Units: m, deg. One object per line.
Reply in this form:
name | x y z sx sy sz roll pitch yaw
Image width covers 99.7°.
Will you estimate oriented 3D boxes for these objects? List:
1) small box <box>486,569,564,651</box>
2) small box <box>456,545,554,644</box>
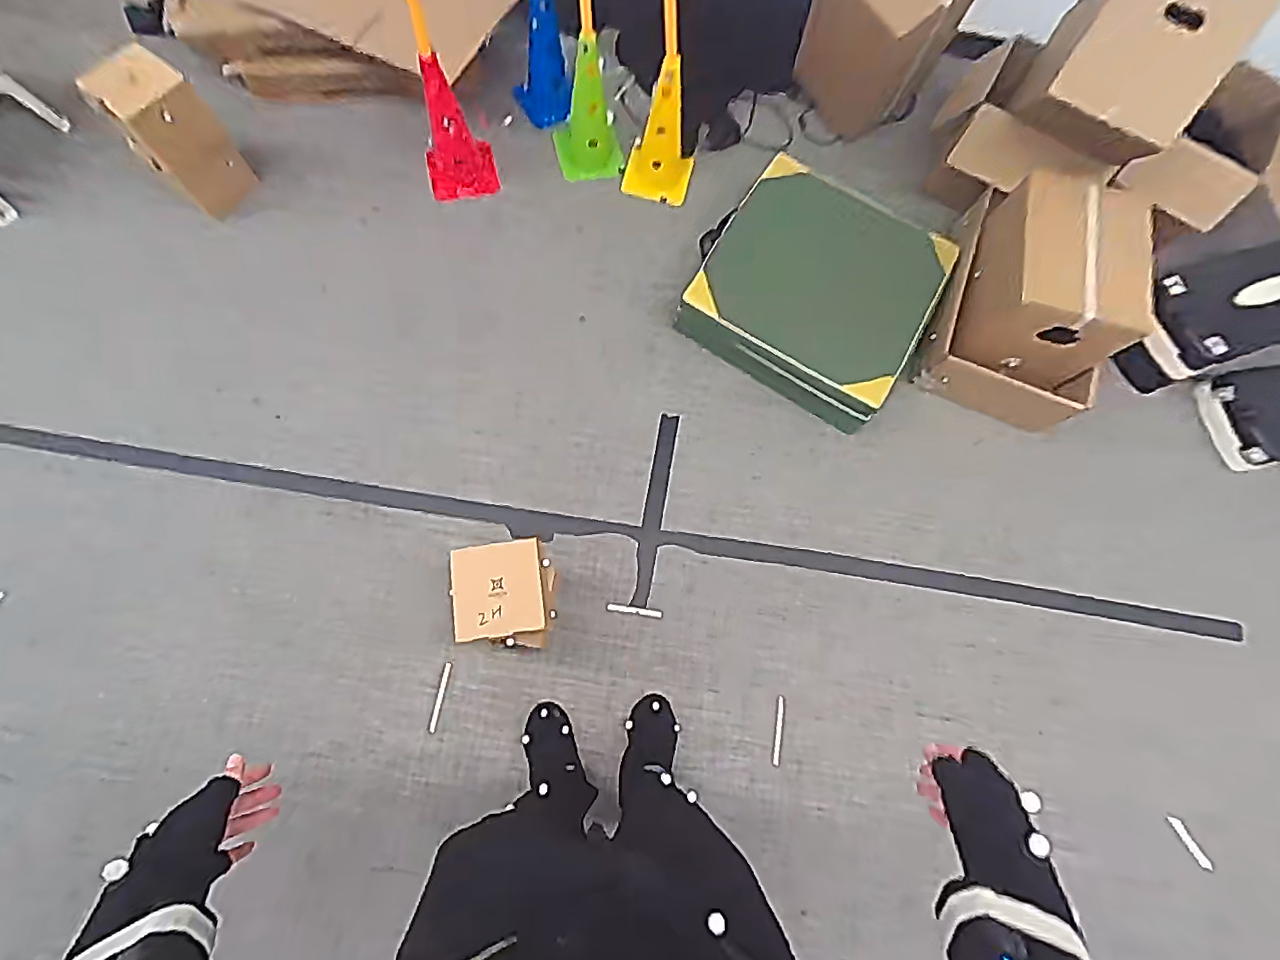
small box | -0.274 0.293 1.251 0.168 0.176 0.179 8 73 -1
small box | -0.267 0.235 1.097 0.168 0.176 0.179 -4 76 -3
